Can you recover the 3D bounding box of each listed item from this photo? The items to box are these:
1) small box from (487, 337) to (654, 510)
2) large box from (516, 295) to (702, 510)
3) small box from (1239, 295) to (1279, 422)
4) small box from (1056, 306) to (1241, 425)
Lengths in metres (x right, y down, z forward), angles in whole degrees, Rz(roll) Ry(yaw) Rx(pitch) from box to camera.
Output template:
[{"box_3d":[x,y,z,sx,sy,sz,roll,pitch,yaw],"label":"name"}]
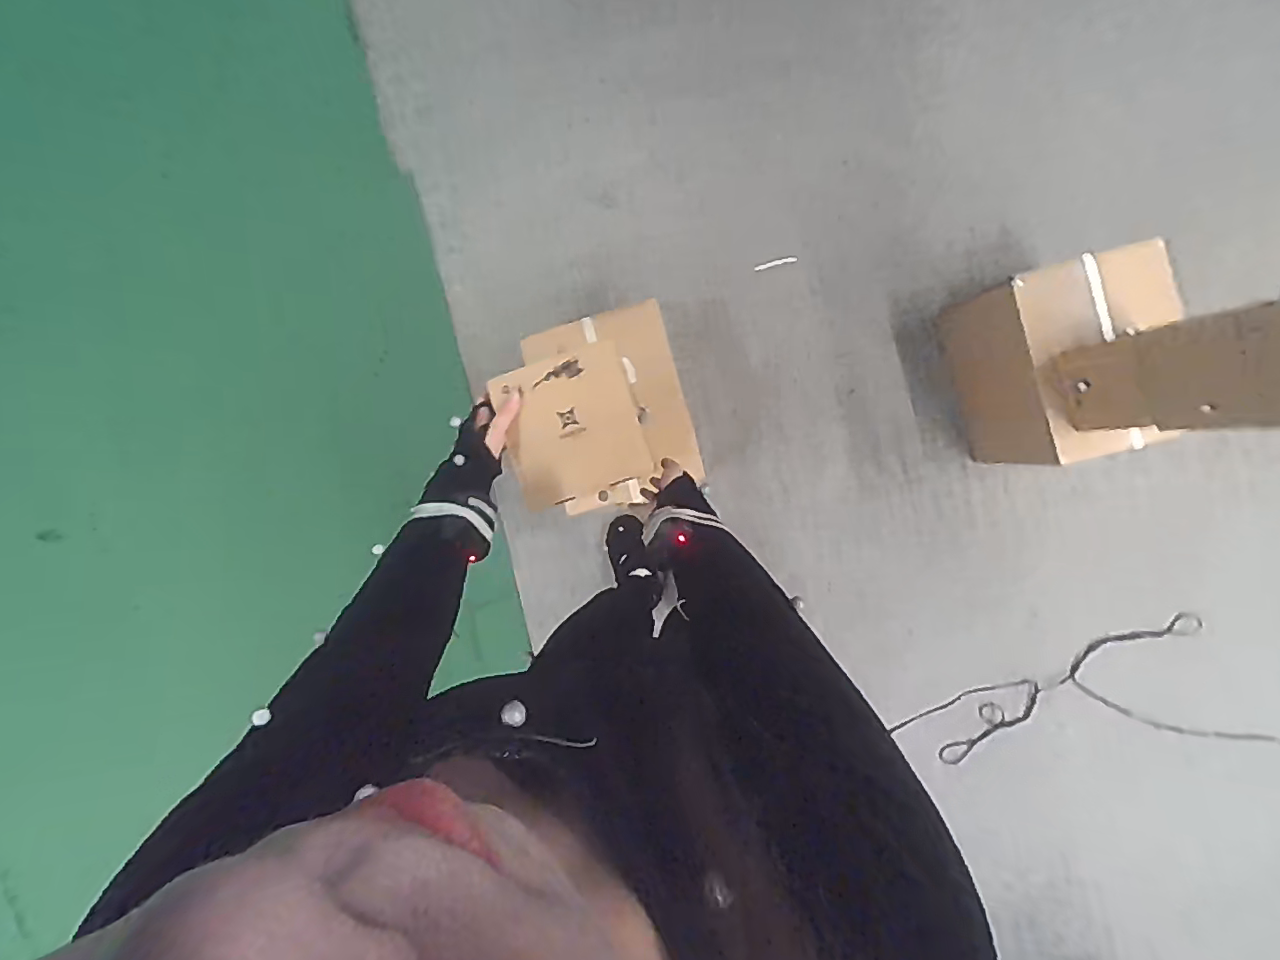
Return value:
[{"box_3d":[-0.081,-0.074,0.742,0.168,0.176,0.179,-19,92,3],"label":"small box"},{"box_3d":[-0.059,-0.169,1.309,0.320,0.320,0.408,-16,91,3],"label":"large box"},{"box_3d":[0.945,-0.177,0.697,0.168,0.176,0.179,-14,94,4],"label":"small box"},{"box_3d":[0.950,-0.208,1.025,0.179,0.176,0.168,-17,93,4],"label":"small box"}]
